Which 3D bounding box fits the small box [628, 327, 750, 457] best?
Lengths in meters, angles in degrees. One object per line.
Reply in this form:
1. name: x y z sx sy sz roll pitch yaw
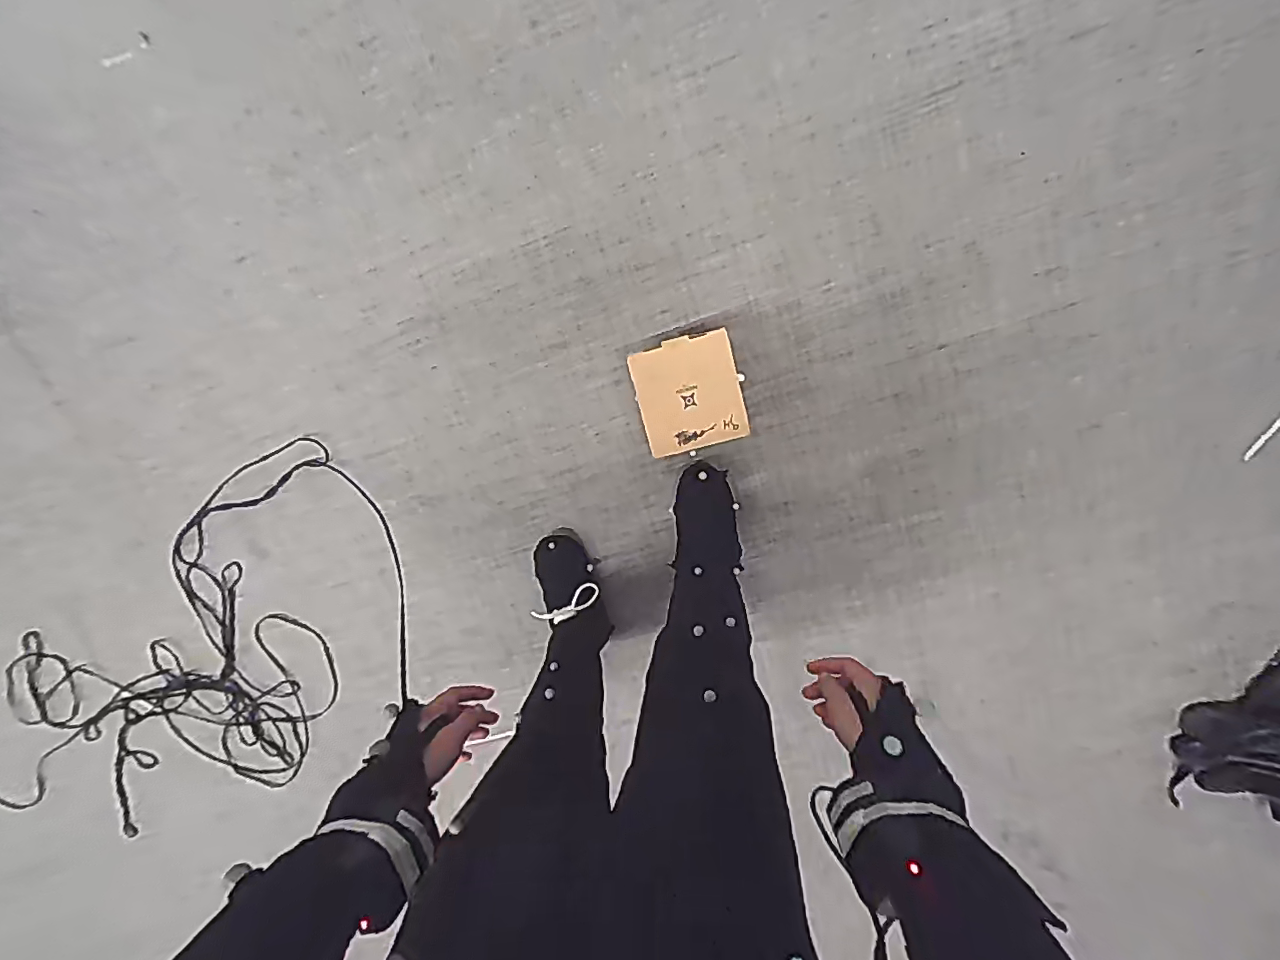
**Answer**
1. small box: 0.085 -0.152 0.940 0.168 0.176 0.179 -14 100 9
